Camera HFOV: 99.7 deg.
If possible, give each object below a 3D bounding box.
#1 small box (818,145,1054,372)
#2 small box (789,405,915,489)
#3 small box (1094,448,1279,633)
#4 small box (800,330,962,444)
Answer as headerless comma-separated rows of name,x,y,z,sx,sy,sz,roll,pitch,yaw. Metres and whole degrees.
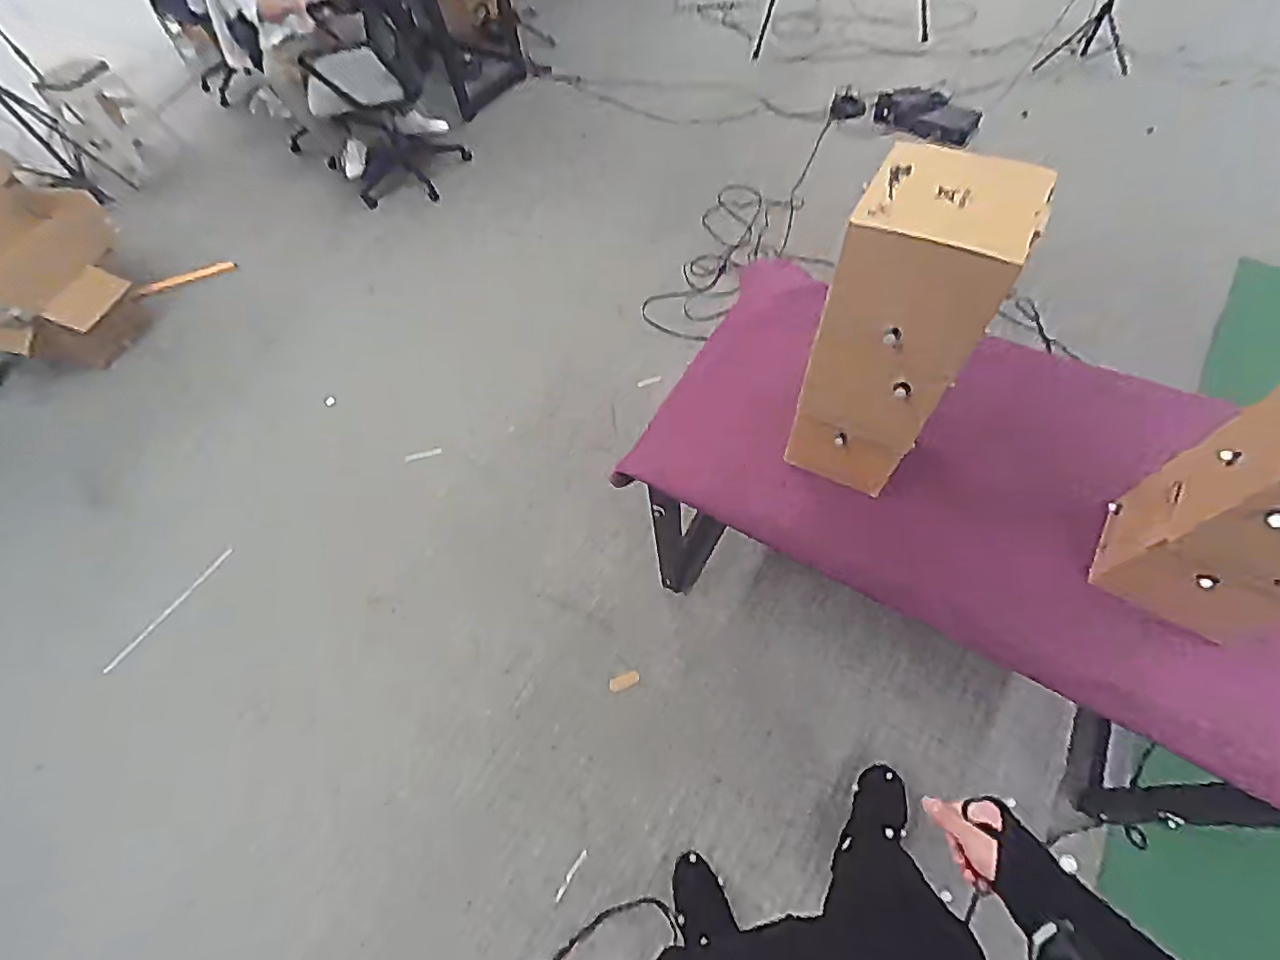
small box,0.338,-0.256,0.646,0.179,0.176,0.168,26,66,19
small box,0.377,-0.106,0.936,0.179,0.176,0.168,24,65,20
small box,0.802,0.092,0.766,0.179,0.176,0.168,29,67,21
small box,0.355,-0.177,0.788,0.179,0.176,0.168,26,66,20
